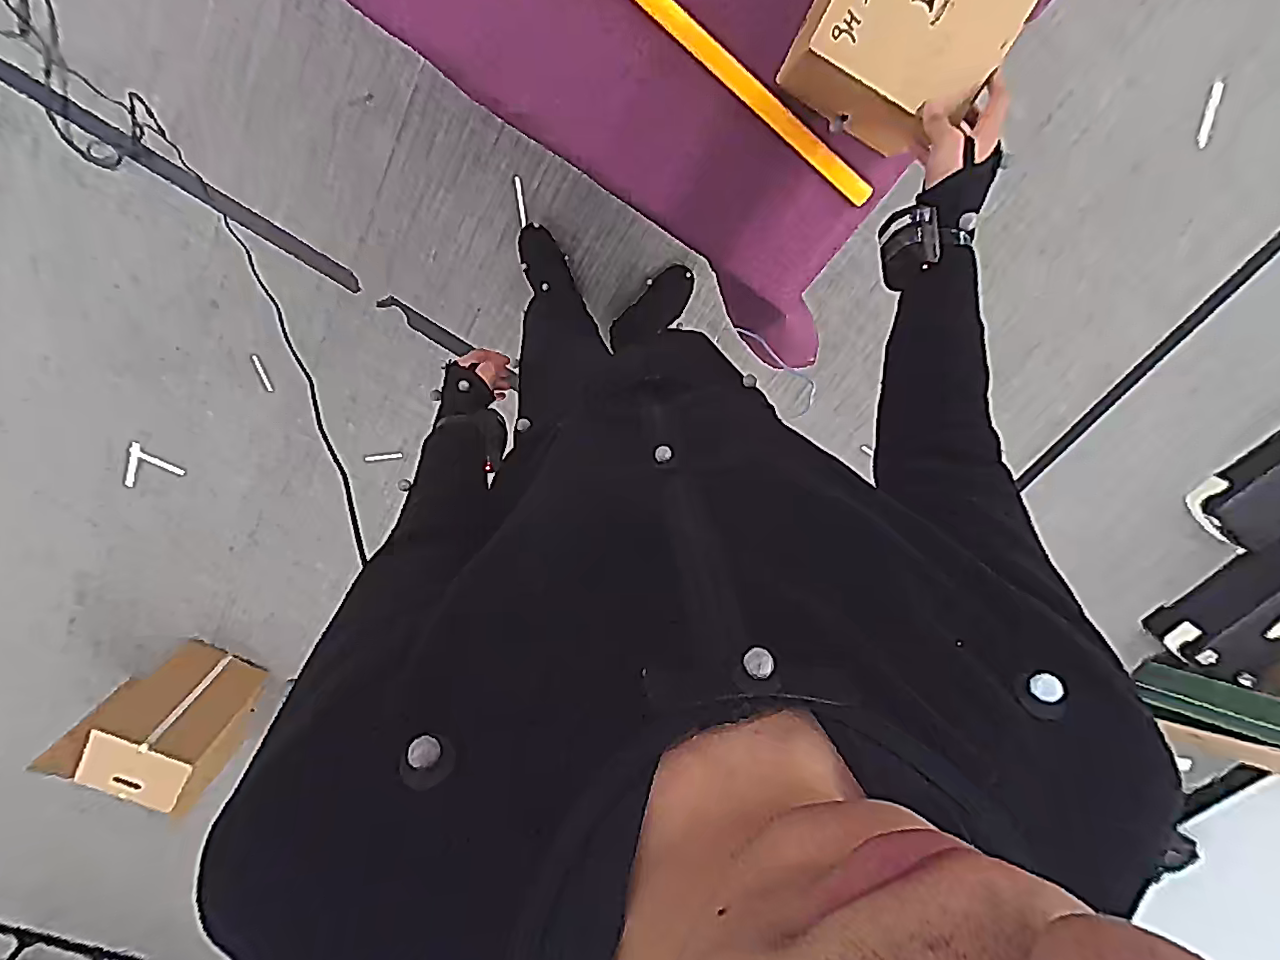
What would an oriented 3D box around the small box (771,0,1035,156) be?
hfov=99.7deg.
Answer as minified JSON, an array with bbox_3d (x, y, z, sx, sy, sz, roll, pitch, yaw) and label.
[{"bbox_3d":[0.269,-0.478,0.587,0.179,0.176,0.168,25,114,-11],"label":"small box"}]
